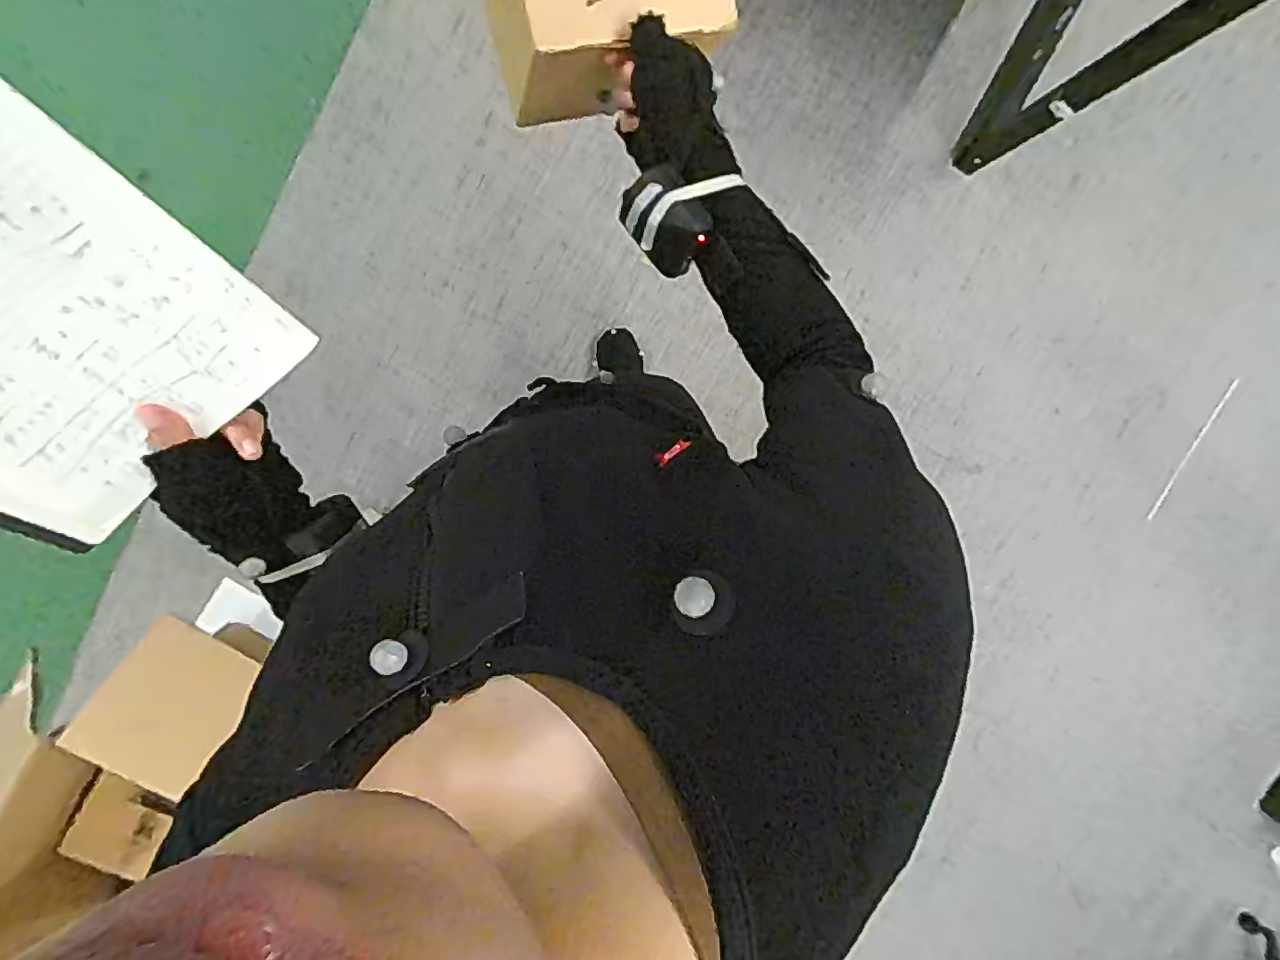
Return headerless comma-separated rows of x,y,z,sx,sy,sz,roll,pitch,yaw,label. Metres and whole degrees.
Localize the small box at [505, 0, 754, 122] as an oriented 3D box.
-0.026,-0.436,0.453,0.168,0.176,0.179,-17,110,-12,small box
